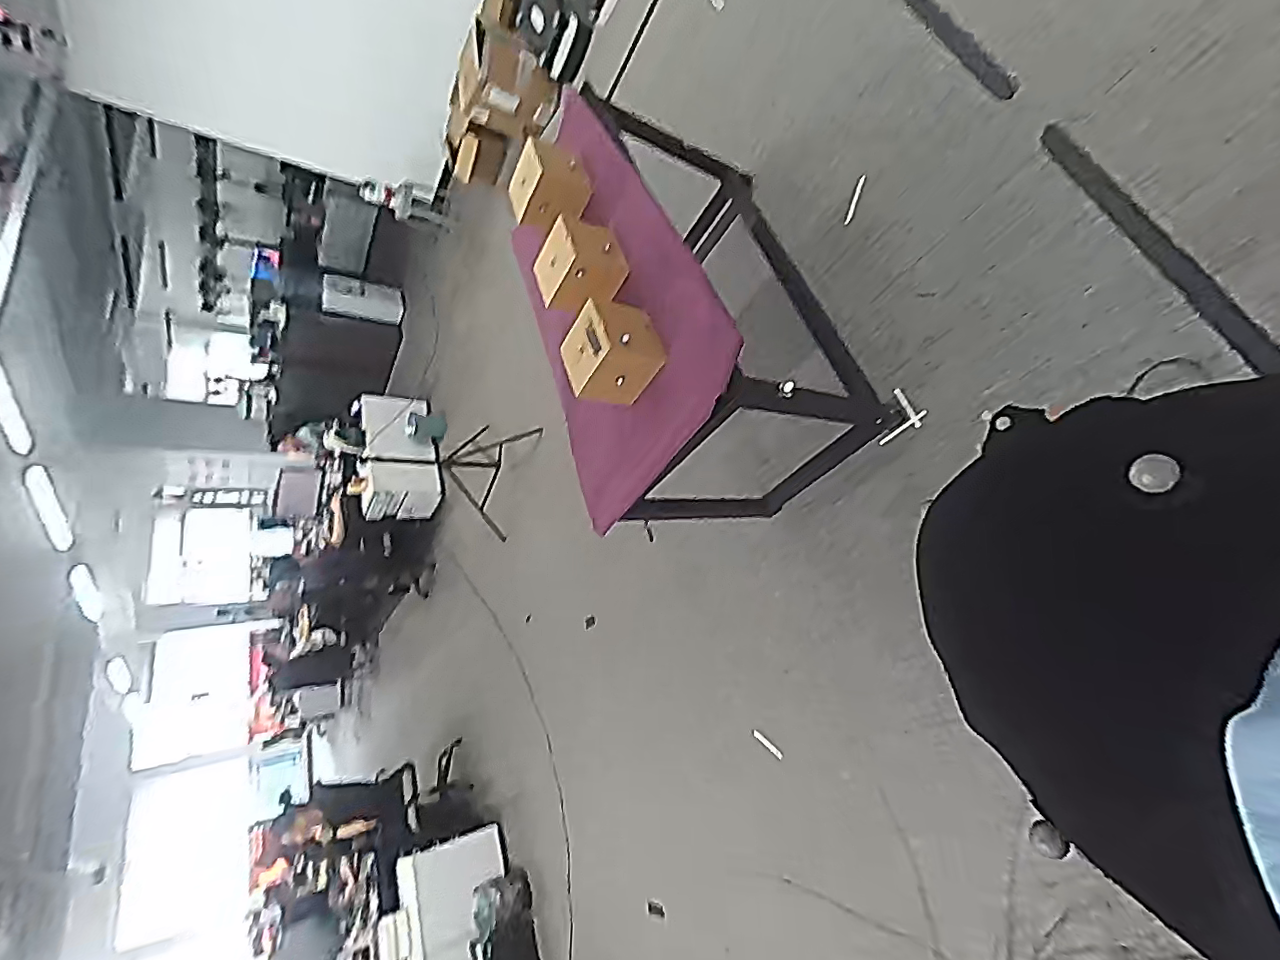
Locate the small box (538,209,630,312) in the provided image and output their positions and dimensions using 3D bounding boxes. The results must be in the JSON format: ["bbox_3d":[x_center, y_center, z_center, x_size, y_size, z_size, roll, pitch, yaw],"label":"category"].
[{"bbox_3d":[-0.152,-0.582,1.457,0.179,0.176,0.168,-45,55,42],"label":"small box"}]

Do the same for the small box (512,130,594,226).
[{"bbox_3d":[-0.256,-0.874,1.597,0.179,0.176,0.168,-43,57,44],"label":"small box"}]
